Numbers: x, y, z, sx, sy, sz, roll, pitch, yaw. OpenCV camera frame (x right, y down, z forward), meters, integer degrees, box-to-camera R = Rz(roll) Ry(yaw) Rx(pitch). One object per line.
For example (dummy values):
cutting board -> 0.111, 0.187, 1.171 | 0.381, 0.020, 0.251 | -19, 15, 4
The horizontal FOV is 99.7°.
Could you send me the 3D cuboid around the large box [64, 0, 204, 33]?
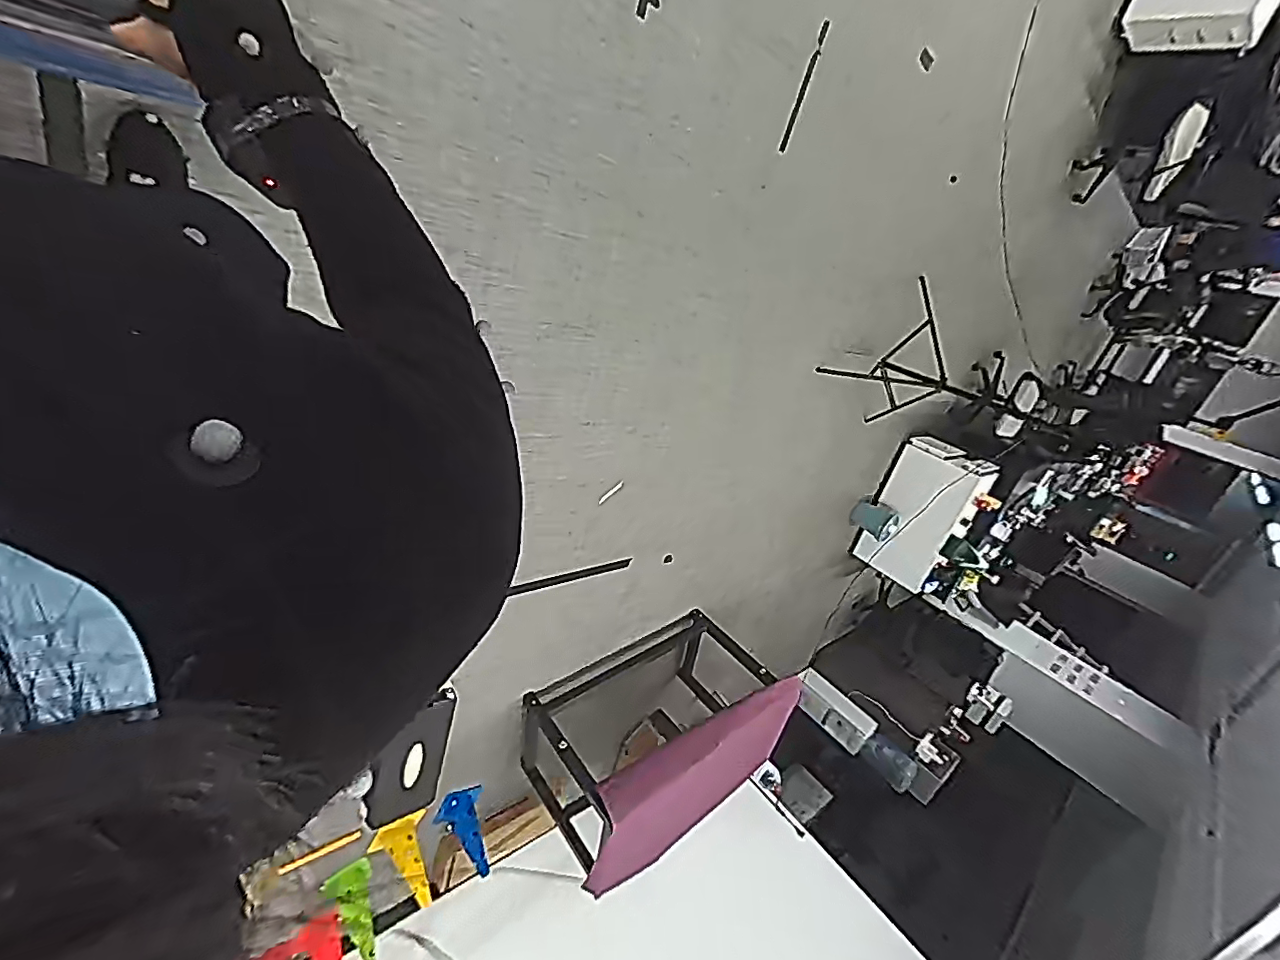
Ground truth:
large box -> -0.747, -0.741, 0.564 | 0.408, 0.320, 0.320 | -10, 124, -42
